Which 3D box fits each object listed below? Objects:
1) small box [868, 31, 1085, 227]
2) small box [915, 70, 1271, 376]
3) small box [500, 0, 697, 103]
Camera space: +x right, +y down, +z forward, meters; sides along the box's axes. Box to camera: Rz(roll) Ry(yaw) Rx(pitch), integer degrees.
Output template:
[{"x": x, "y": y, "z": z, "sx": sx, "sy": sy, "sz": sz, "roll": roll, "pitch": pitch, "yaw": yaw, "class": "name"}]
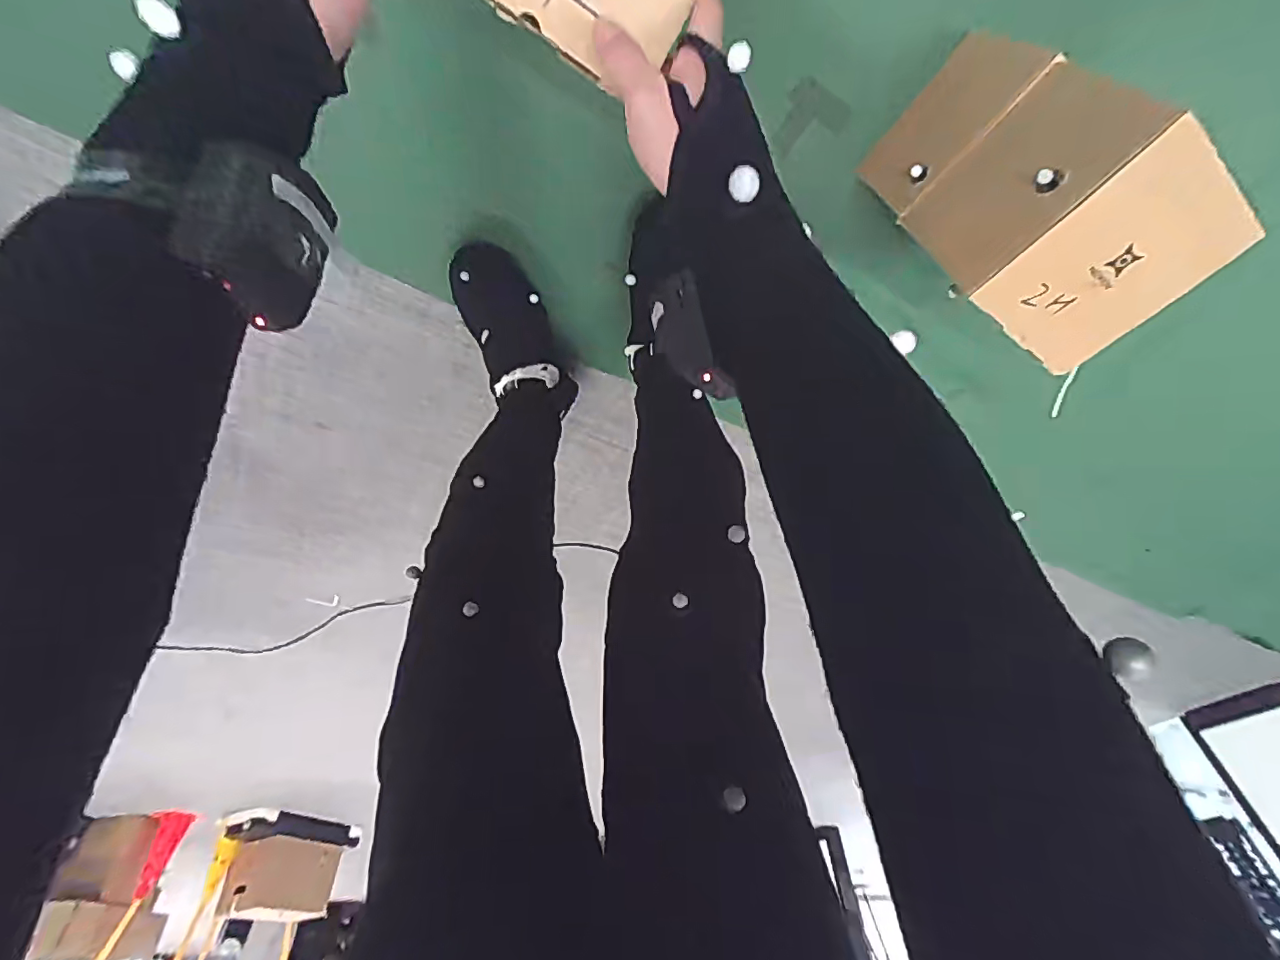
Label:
[{"x": 0.401, "y": -0.367, "z": 0.625, "sx": 0.168, "sy": 0.176, "sz": 0.179, "roll": 22, "pitch": 133, "yaw": -25, "class": "small box"}, {"x": 0.407, "y": -0.242, "z": 0.517, "sx": 0.168, "sy": 0.176, "sz": 0.179, "roll": 24, "pitch": 131, "yaw": -26, "class": "small box"}, {"x": -0.022, "y": -0.391, "z": 0.340, "sx": 0.168, "sy": 0.176, "sz": 0.179, "roll": 23, "pitch": 130, "yaw": -23, "class": "small box"}]
